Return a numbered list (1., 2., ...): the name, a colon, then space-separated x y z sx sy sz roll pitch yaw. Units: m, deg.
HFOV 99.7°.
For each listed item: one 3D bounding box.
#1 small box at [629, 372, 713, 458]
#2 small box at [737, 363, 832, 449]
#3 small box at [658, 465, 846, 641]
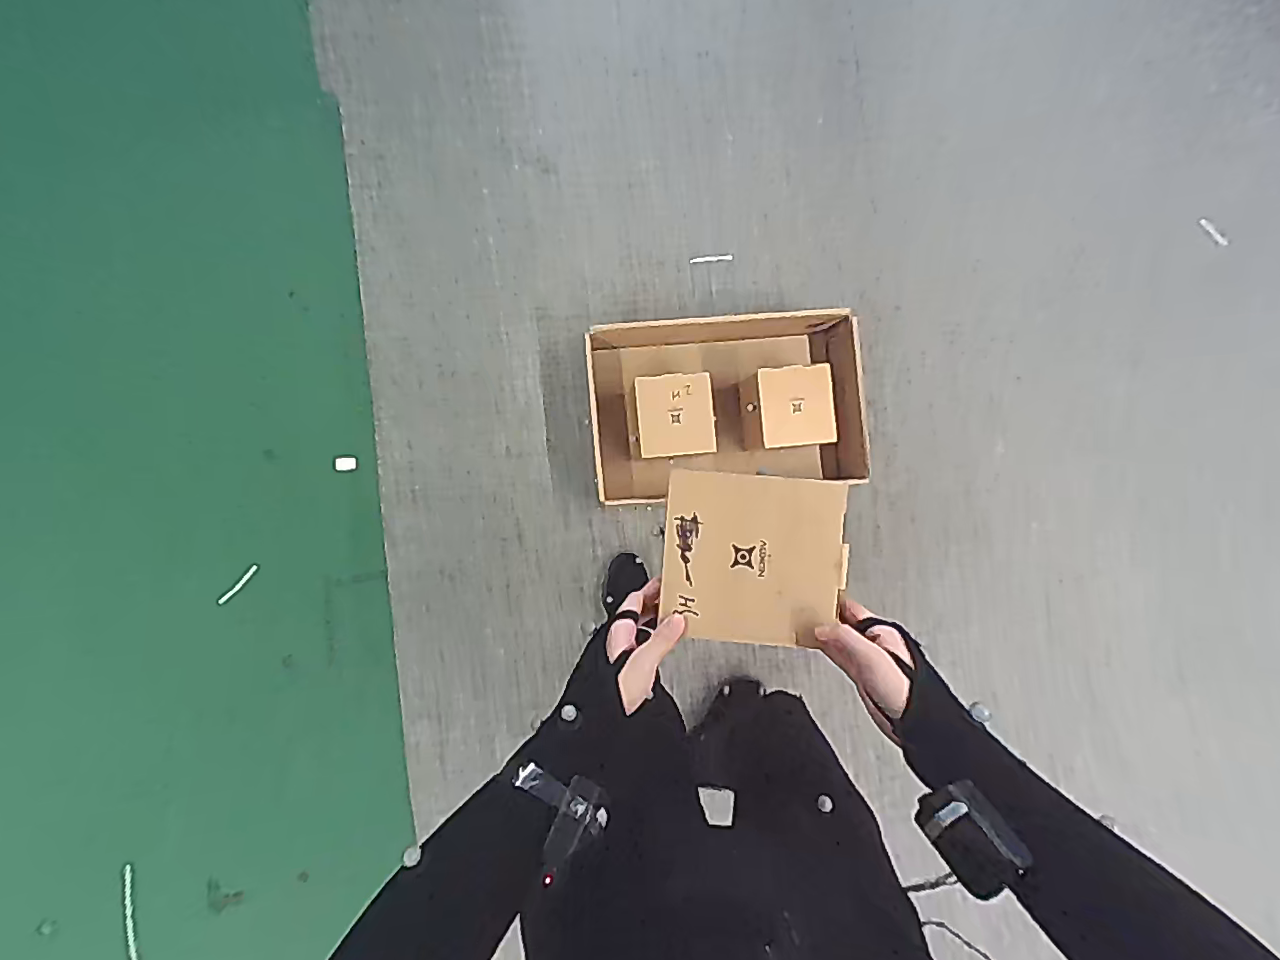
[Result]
1. small box: 0.066 -0.142 1.242 0.168 0.176 0.179 -5 90 -6
2. small box: 0.332 -0.166 1.269 0.168 0.176 0.179 -6 89 -5
3. small box: 0.115 0.075 0.619 0.179 0.176 0.168 5 87 2
